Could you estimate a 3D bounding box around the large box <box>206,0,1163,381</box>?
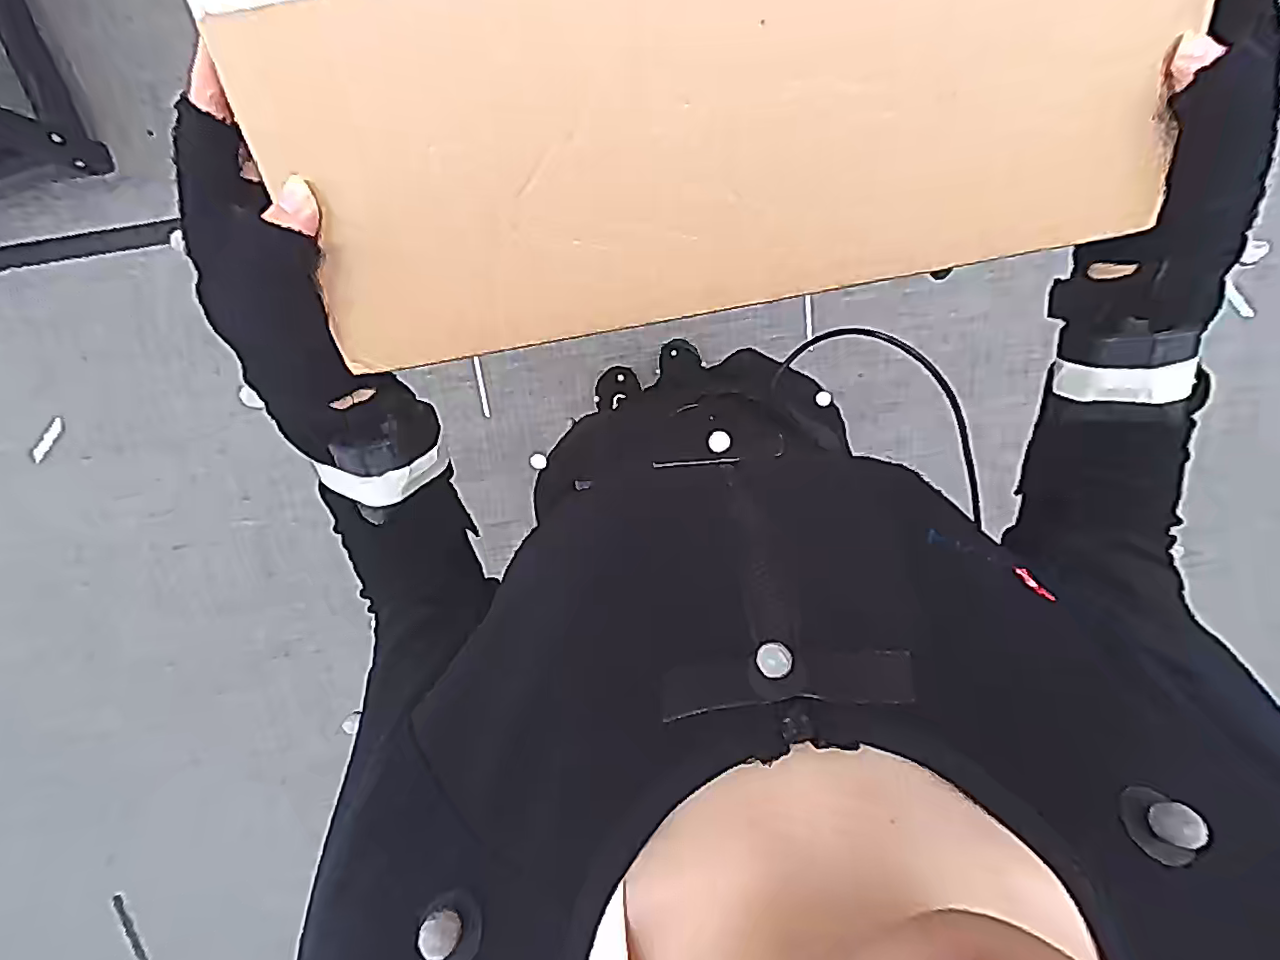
[{"bbox_3d":[0.015,-0.291,0.344,0.408,0.320,0.320,-10,117,2],"label":"large box"}]
